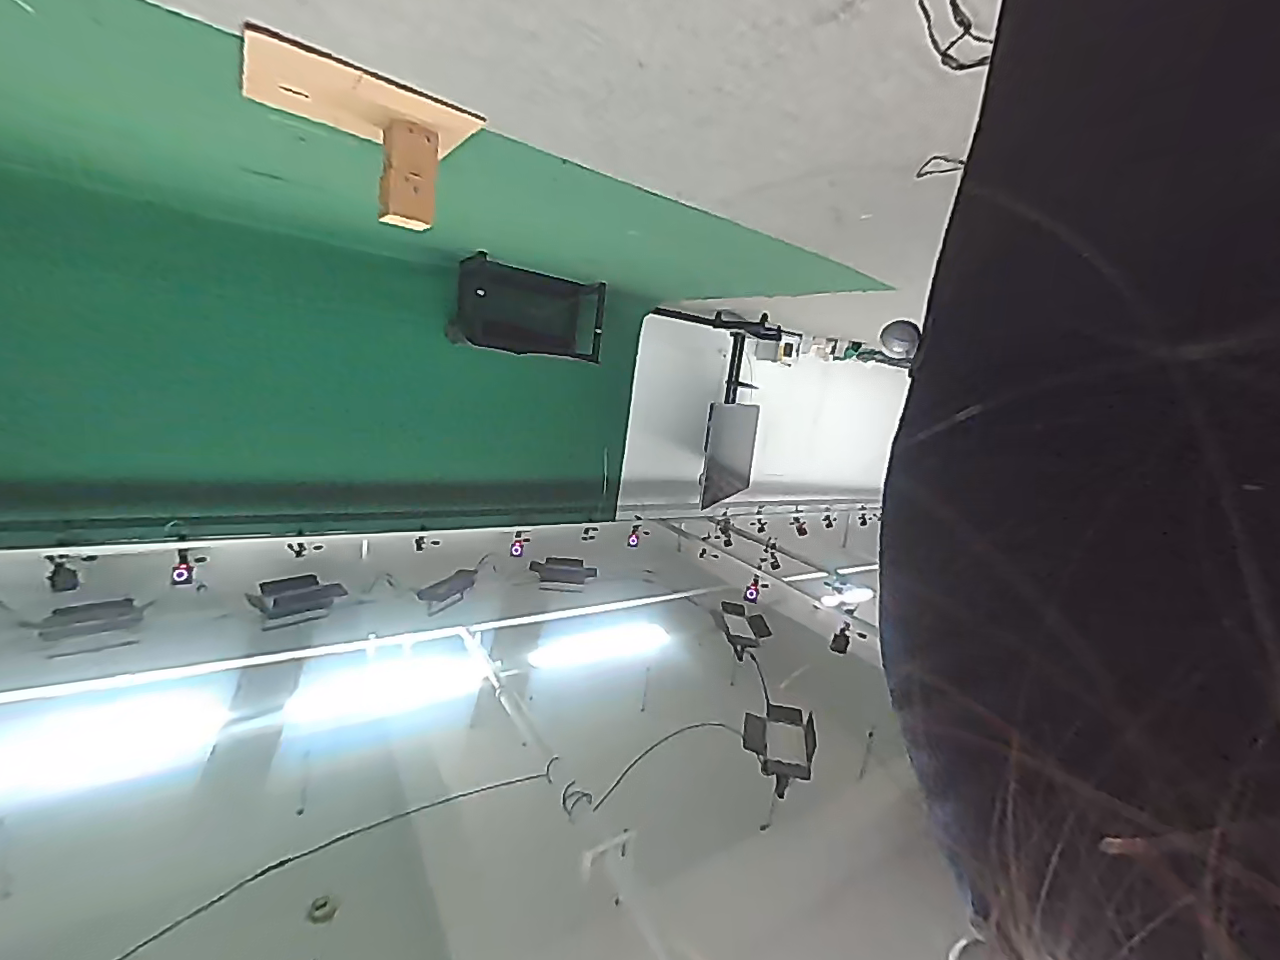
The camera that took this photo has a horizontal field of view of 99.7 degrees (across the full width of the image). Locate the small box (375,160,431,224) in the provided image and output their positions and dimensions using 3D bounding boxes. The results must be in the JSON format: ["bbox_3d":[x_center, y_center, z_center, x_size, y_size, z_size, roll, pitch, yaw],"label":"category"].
[{"bbox_3d":[-0.936,-1.137,2.139,0.168,0.176,0.179,-1,-166,-39],"label":"small box"}]

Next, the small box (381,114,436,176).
[{"bbox_3d":[-0.902,-1.291,2.101,0.168,0.176,0.179,-2,-164,-38],"label":"small box"}]
